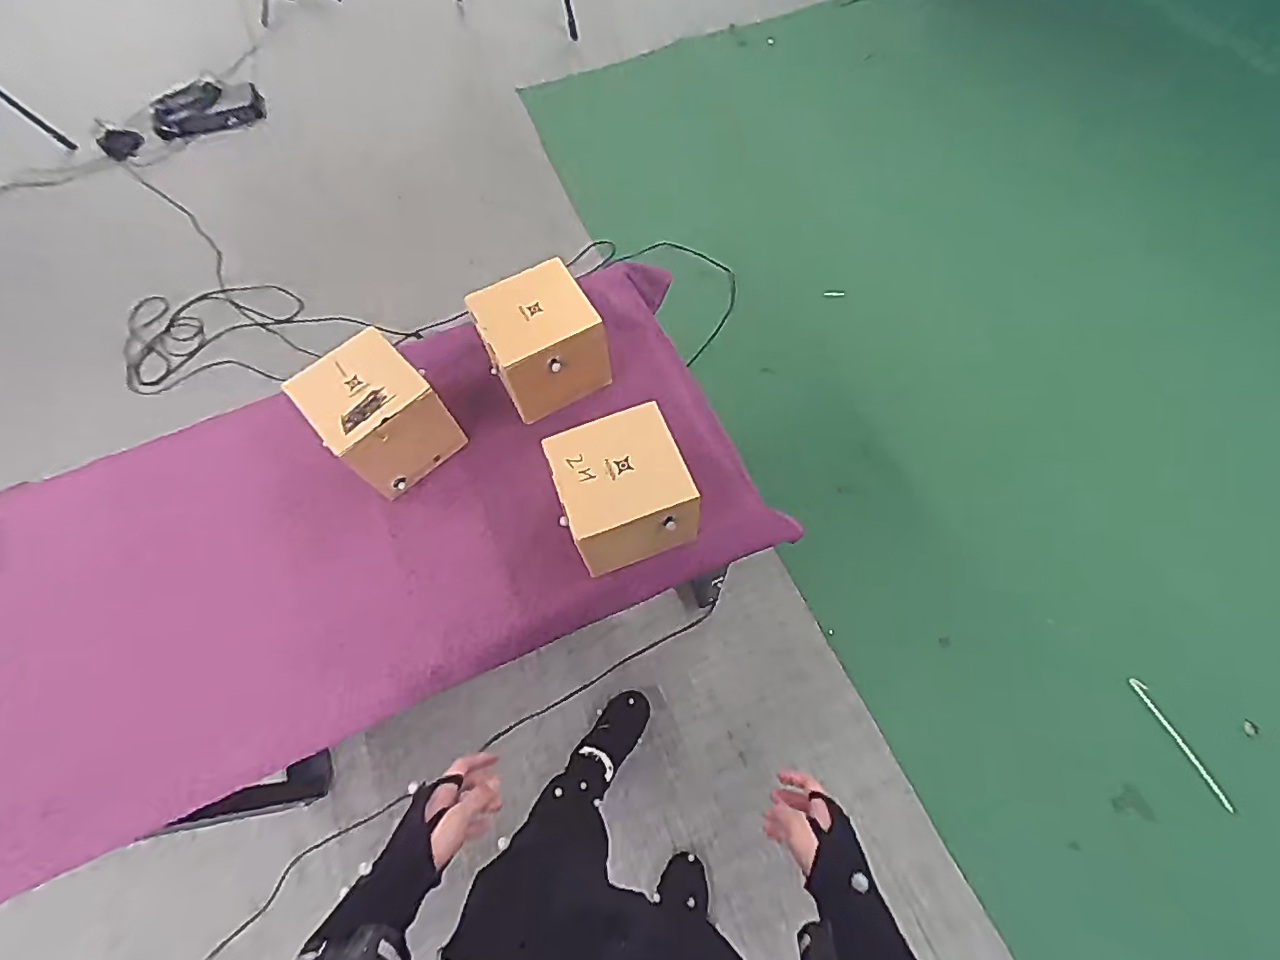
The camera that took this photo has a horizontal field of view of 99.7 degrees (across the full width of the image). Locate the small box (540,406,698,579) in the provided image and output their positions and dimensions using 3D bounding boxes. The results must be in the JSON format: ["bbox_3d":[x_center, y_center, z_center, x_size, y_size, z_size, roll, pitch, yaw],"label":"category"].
[{"bbox_3d":[-0.028,0.025,0.795,0.179,0.176,0.168,-20,64,-5],"label":"small box"}]

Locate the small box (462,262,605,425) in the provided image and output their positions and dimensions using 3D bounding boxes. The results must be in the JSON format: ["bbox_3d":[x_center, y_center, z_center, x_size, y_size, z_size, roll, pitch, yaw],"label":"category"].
[{"bbox_3d":[-0.170,-0.228,0.927,0.179,0.176,0.168,-29,67,-9],"label":"small box"}]

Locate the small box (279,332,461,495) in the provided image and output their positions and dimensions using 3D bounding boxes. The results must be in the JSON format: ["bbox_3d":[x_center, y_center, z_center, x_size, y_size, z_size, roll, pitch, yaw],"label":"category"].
[{"bbox_3d":[-0.425,-0.096,0.879,0.168,0.176,0.179,-41,69,-15],"label":"small box"}]
